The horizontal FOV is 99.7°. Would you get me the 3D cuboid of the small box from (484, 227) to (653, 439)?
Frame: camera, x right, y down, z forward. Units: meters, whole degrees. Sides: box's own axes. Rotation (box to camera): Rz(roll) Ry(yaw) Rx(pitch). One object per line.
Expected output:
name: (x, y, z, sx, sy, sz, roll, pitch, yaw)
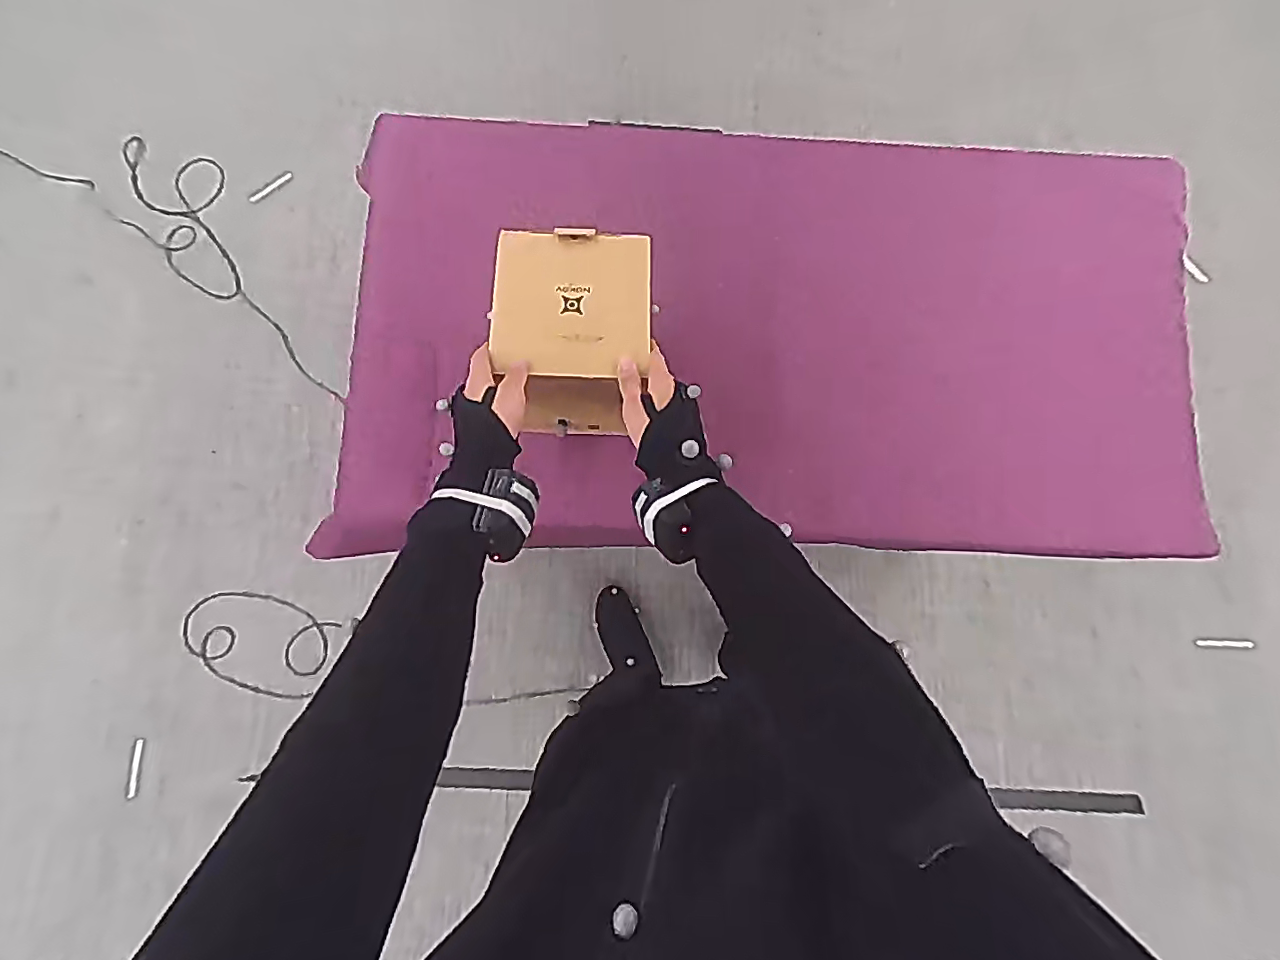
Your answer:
small box: (-0.075, -0.162, 0.635, 0.168, 0.176, 0.179, 2, 74, -2)
